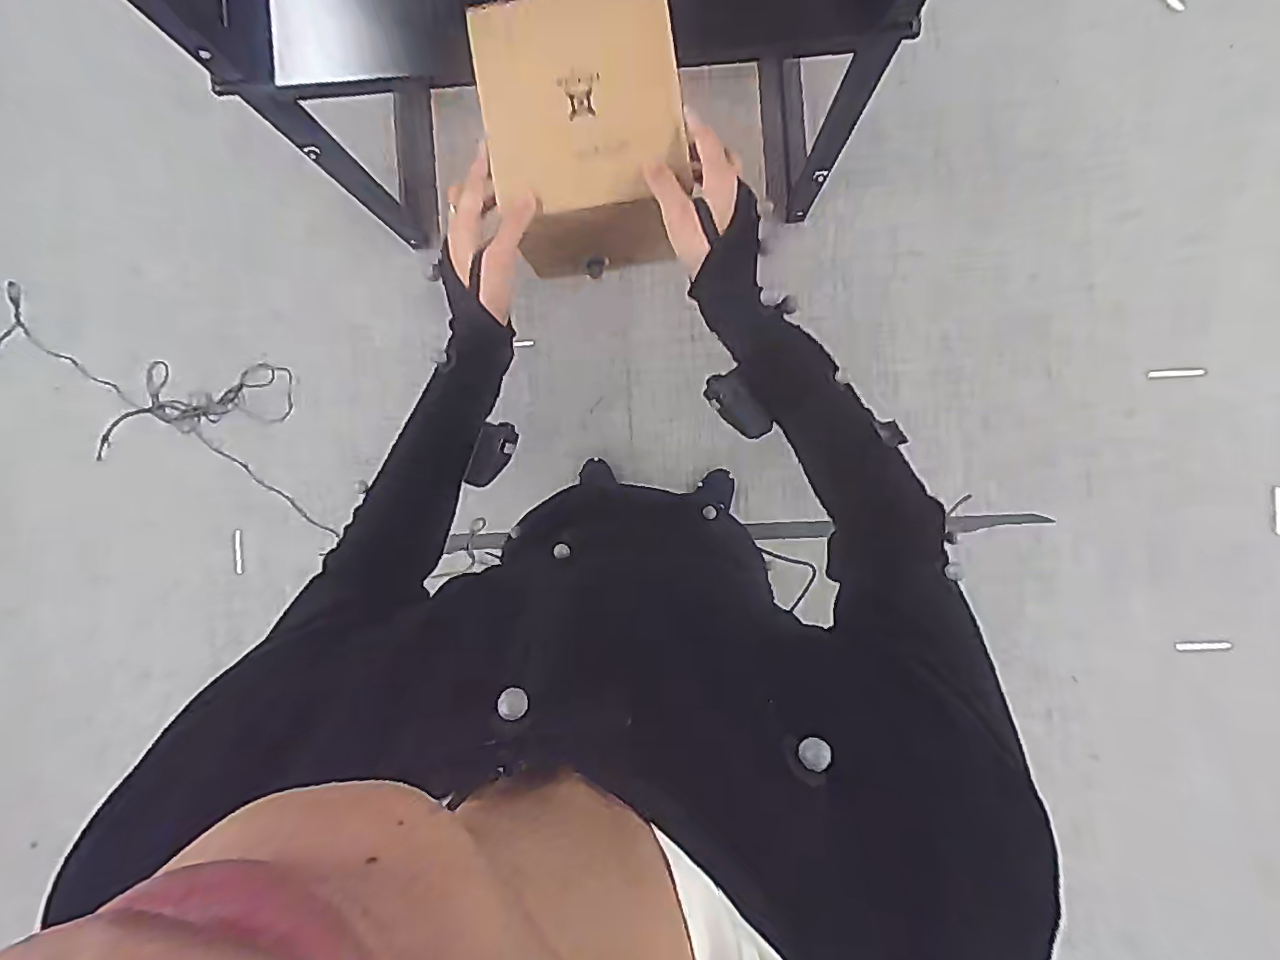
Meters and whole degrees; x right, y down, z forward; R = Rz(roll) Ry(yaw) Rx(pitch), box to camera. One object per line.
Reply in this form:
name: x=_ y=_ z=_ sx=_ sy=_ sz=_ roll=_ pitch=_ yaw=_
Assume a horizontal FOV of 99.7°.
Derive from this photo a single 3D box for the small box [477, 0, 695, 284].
small box: x=-0.044 y=-0.316 z=0.530 sx=0.168 sy=0.176 sz=0.179 roll=-8 pitch=92 yaw=2
